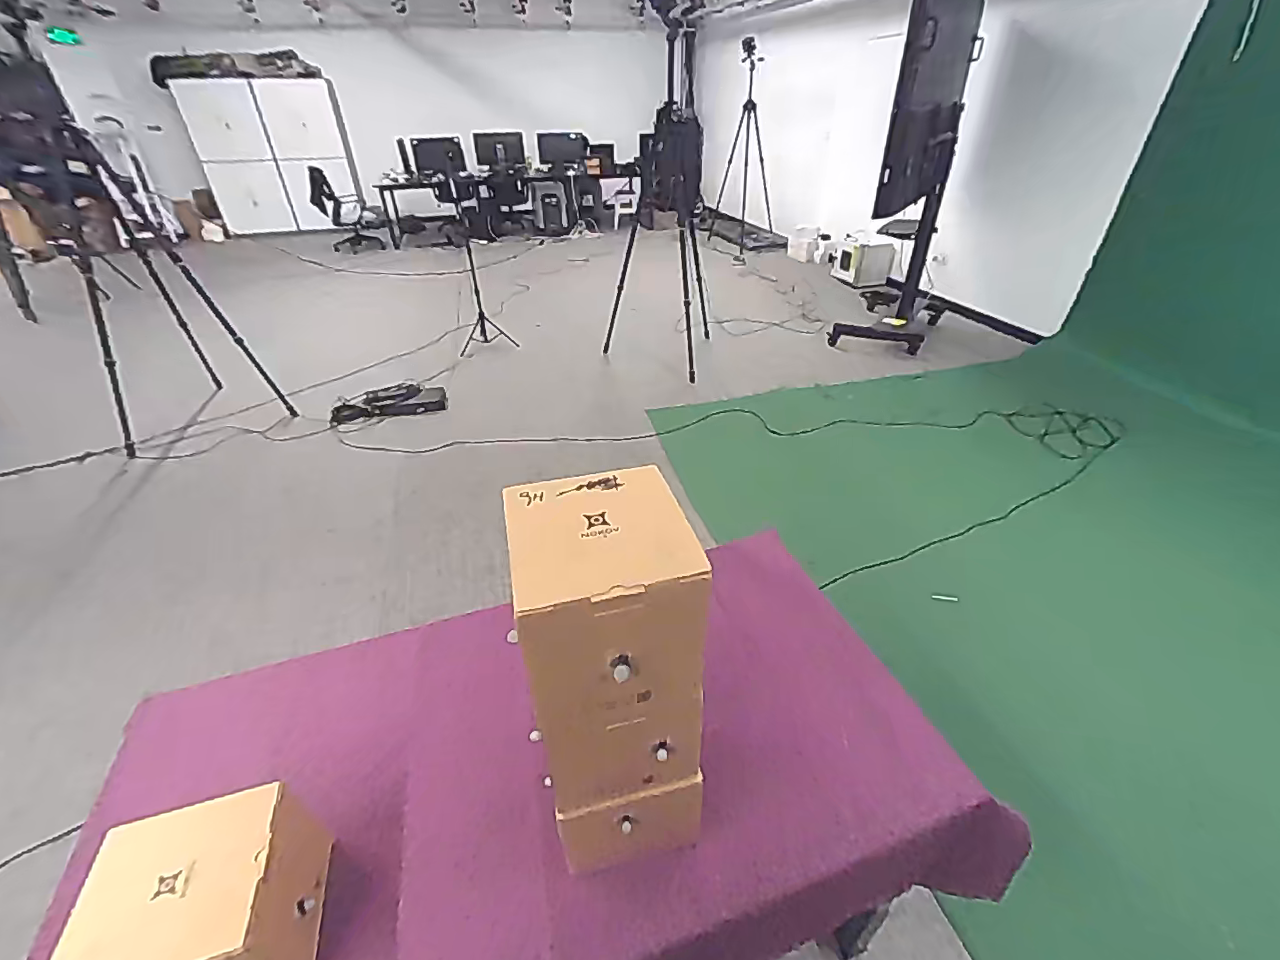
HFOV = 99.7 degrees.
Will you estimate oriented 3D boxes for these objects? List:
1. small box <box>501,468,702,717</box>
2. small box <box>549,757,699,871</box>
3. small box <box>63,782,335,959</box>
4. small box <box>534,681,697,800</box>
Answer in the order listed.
[{"bbox_3d":[-0.042,0.114,0.548,0.168,0.176,0.179,-9,36,-11],"label":"small box"},{"bbox_3d":[-0.026,0.388,0.727,0.179,0.176,0.168,-9,36,-9],"label":"small box"},{"bbox_3d":[-0.479,0.488,0.612,0.179,0.176,0.168,-11,36,-13],"label":"small box"},{"bbox_3d":[-0.034,0.249,0.642,0.168,0.176,0.179,-9,34,-10],"label":"small box"}]
